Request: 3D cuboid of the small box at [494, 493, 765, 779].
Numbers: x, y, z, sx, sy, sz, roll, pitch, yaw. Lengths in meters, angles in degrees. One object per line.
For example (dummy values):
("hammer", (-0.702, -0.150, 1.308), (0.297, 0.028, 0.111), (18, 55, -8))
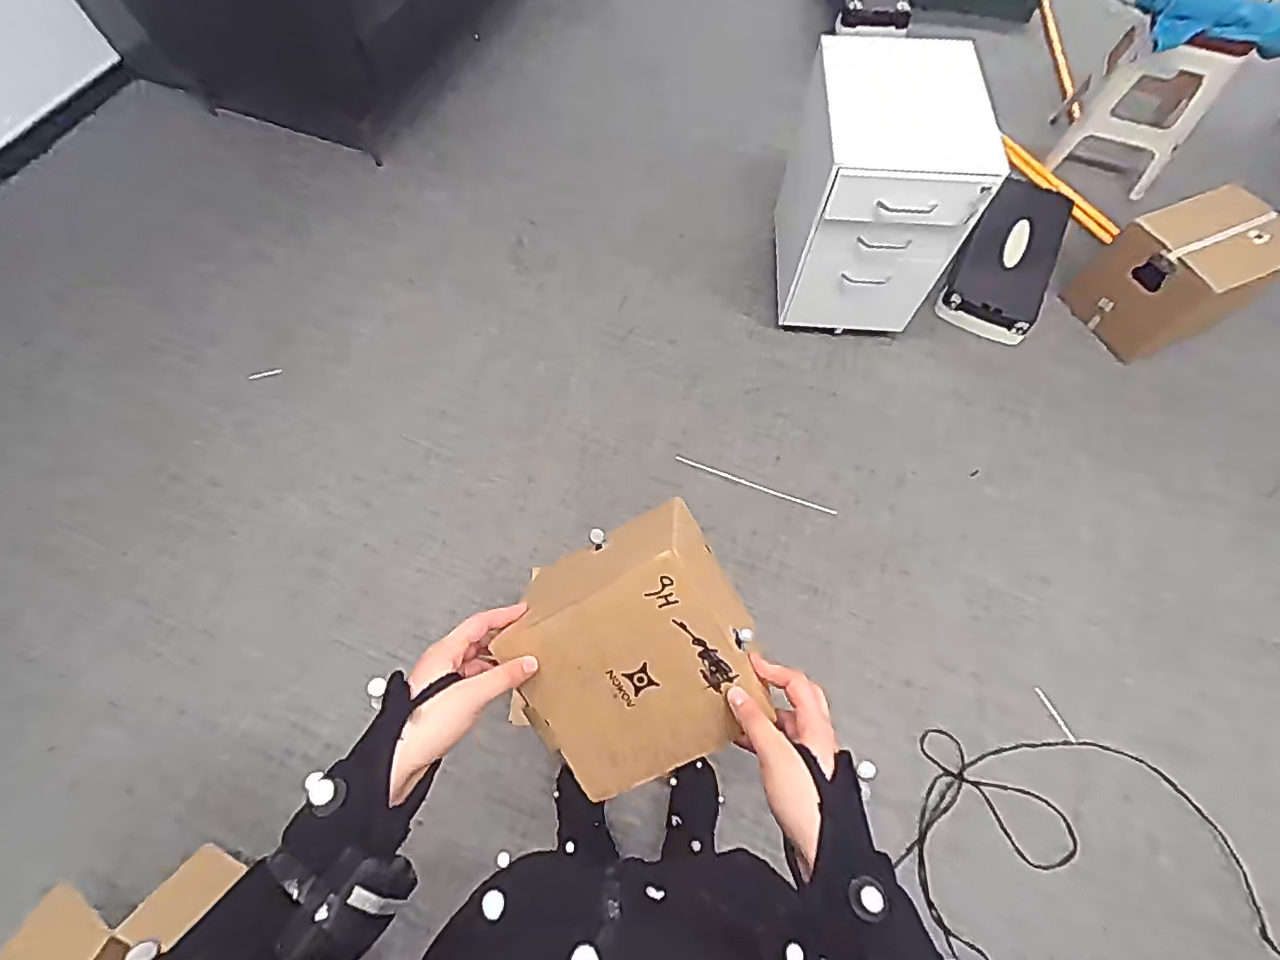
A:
("small box", (-0.001, 0.134, 0.519), (0.179, 0.176, 0.168), (-29, 98, 11))
